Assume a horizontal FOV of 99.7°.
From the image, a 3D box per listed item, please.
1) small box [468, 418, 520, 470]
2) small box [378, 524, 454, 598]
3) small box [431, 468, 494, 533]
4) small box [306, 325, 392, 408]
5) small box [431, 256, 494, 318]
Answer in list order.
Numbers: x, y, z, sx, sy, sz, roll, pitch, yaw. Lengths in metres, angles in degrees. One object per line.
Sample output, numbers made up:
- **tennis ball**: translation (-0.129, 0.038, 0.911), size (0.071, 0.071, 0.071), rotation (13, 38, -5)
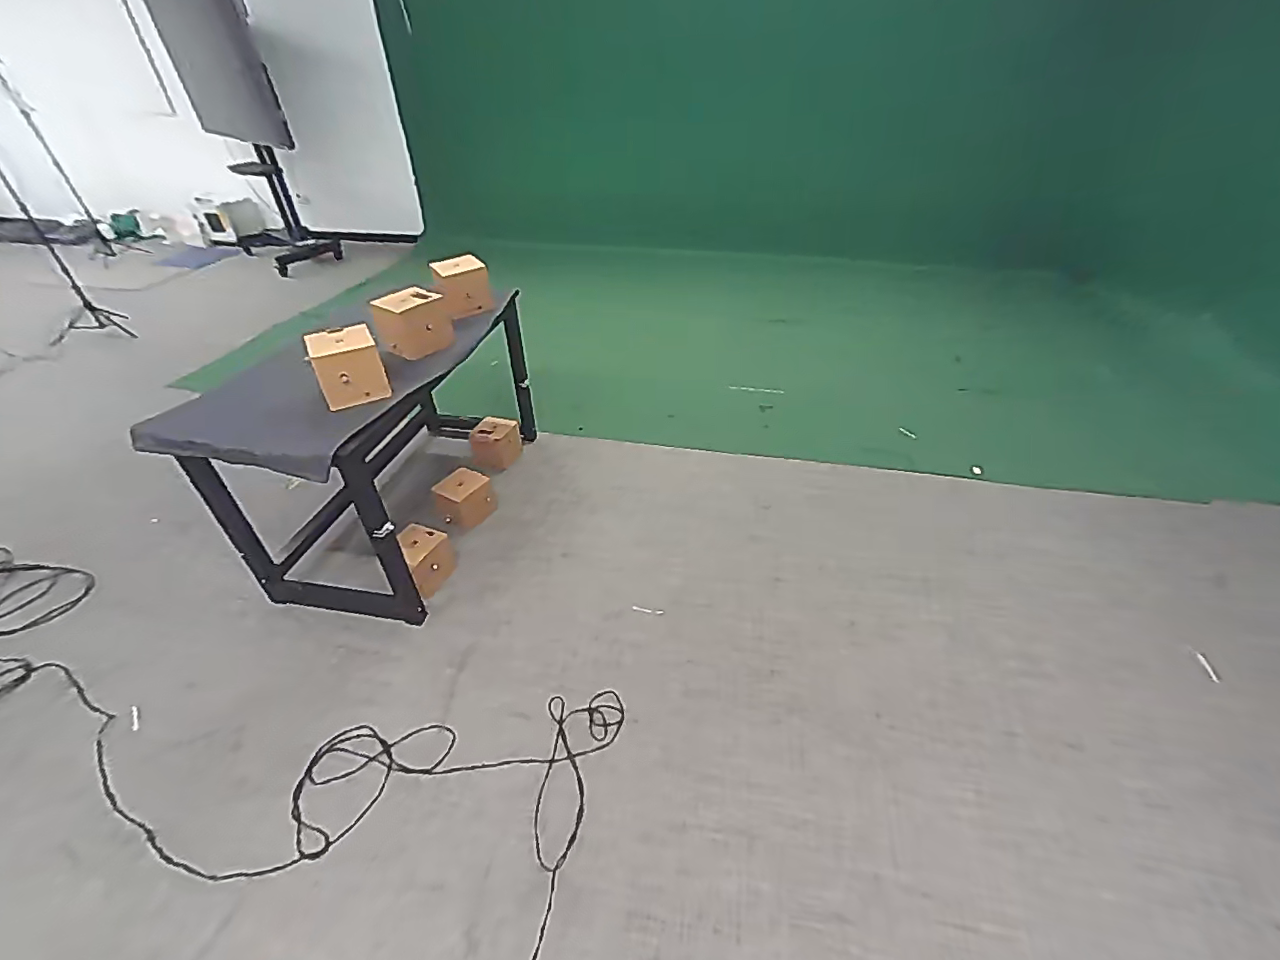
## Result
- **small box**: translation (-0.675, -0.167, 2.531), size (0.168, 0.176, 0.179), rotation (11, 39, 13)
- **small box**: translation (-0.798, 0.294, 1.949), size (0.168, 0.176, 0.179), rotation (15, 41, 18)
- **small box**: translation (-0.717, 0.084, 2.213), size (0.168, 0.176, 0.179), rotation (20, 44, 25)
- **small box**: translation (-0.834, -0.323, 1.556), size (0.168, 0.176, 0.179), rotation (-21, 42, -24)
- **small box**: translation (-0.675, -0.734, 2.067), size (0.168, 0.176, 0.179), rotation (-24, 43, -23)
